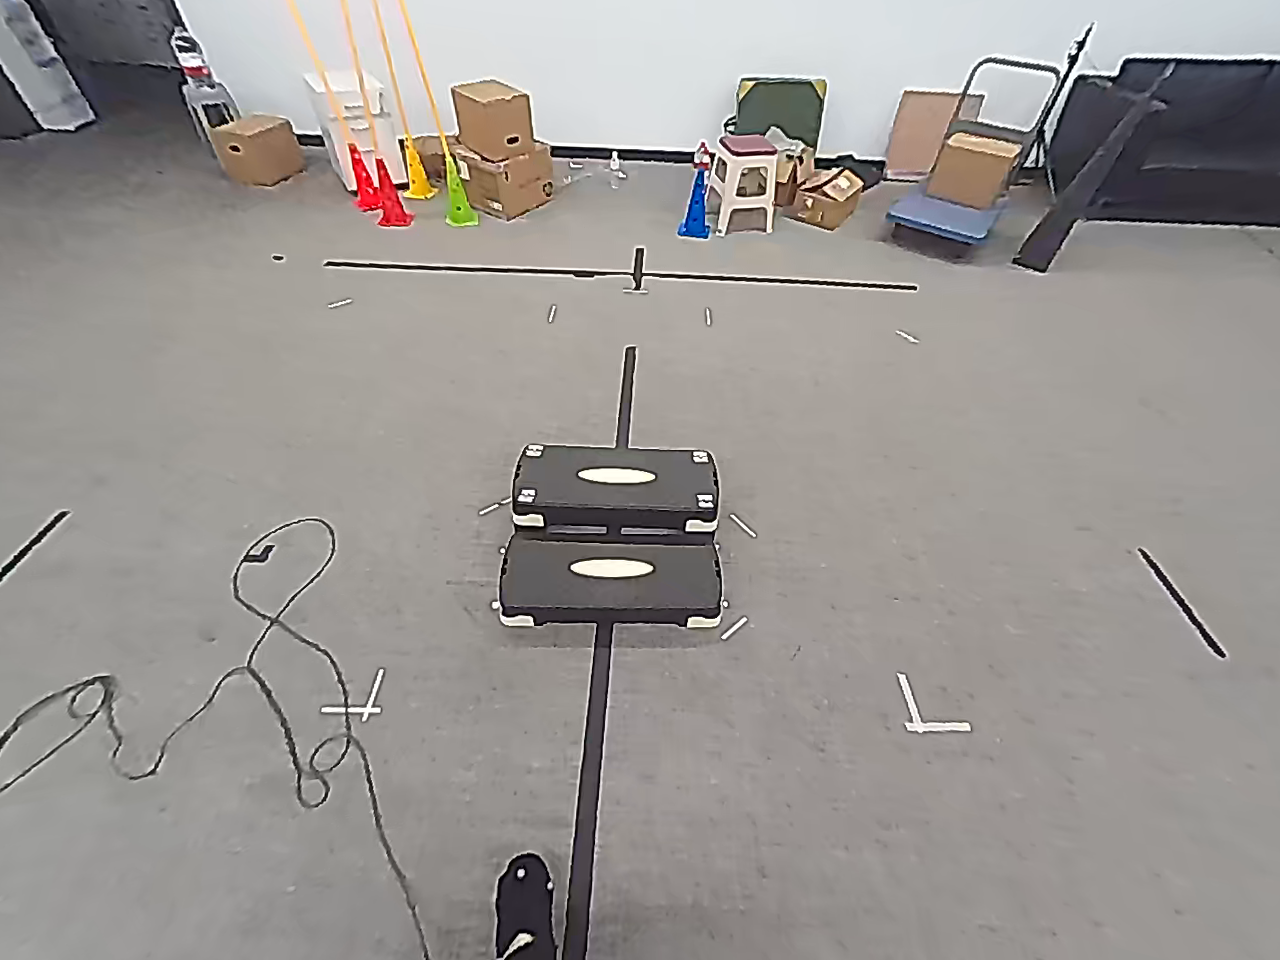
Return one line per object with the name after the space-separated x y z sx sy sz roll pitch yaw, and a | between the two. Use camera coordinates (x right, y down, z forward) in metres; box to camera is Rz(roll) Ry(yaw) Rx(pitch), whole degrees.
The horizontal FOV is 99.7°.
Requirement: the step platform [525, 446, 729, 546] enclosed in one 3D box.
-0.042 0.050 1.838 0.684 0.204 0.286 2 47 -2 | step platform
